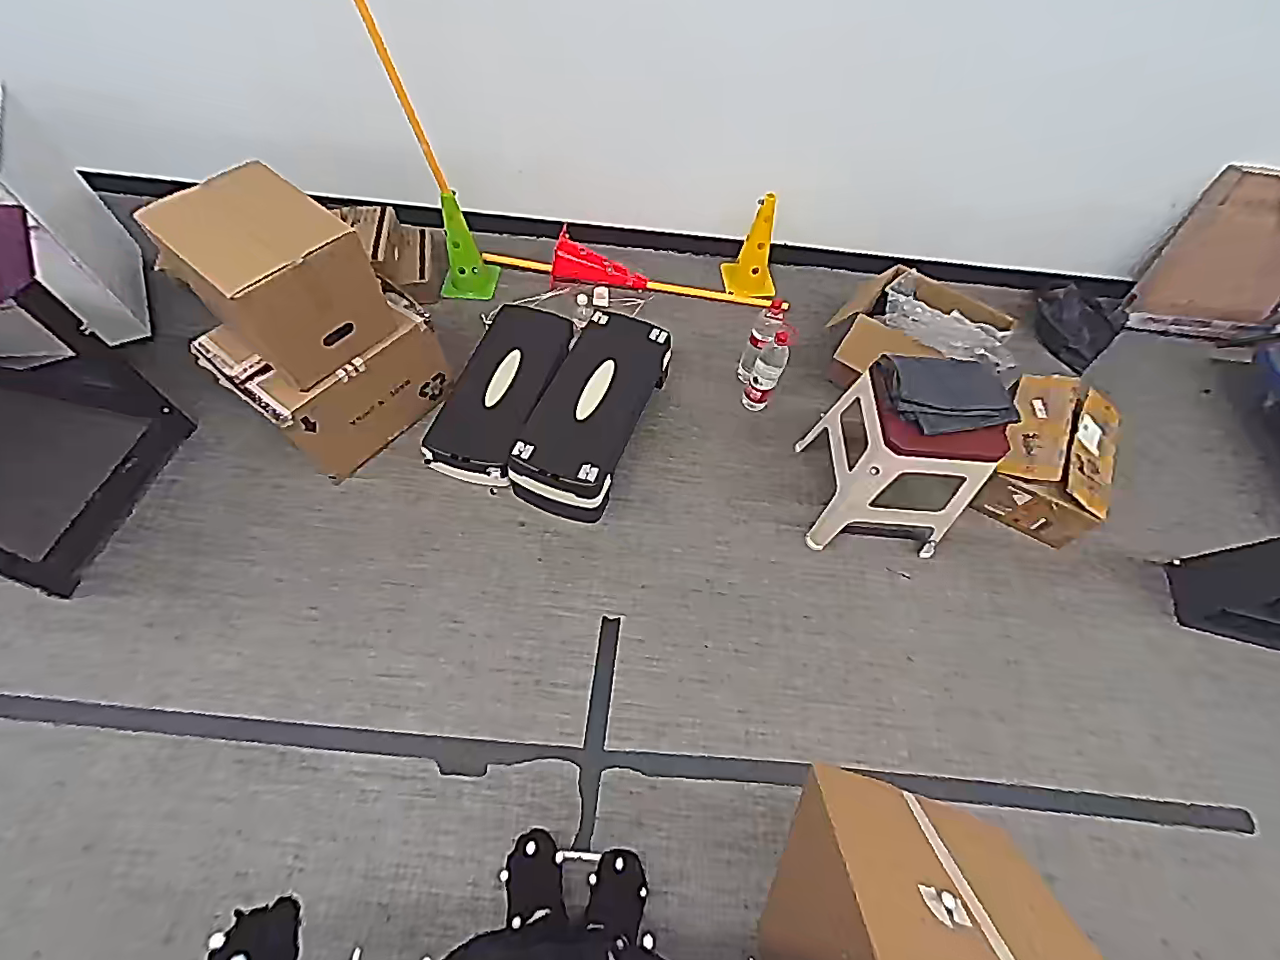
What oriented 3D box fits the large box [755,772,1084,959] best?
[{"bbox_3d":[0.359,0.683,0.703,0.320,0.408,0.320,18,94,7],"label":"large box"}]
